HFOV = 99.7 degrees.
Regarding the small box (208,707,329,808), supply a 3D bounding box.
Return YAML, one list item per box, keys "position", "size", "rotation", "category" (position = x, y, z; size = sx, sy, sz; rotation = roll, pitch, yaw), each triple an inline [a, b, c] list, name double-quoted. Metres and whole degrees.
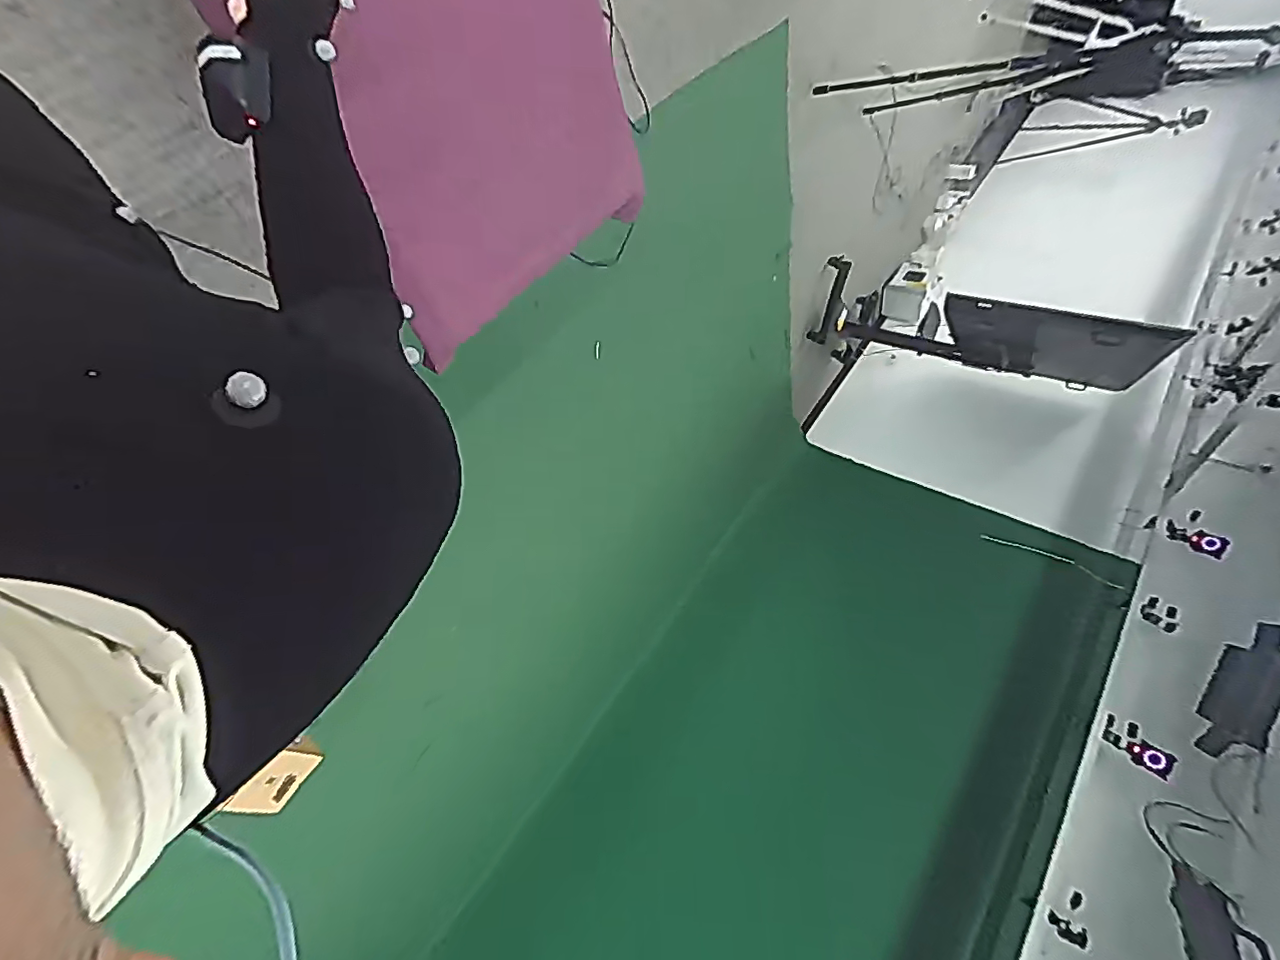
- position: [-0.975, 0.727, 1.422]
  size: [0.168, 0.176, 0.179]
  rotation: [-53, 144, -16]
  category: "small box"
